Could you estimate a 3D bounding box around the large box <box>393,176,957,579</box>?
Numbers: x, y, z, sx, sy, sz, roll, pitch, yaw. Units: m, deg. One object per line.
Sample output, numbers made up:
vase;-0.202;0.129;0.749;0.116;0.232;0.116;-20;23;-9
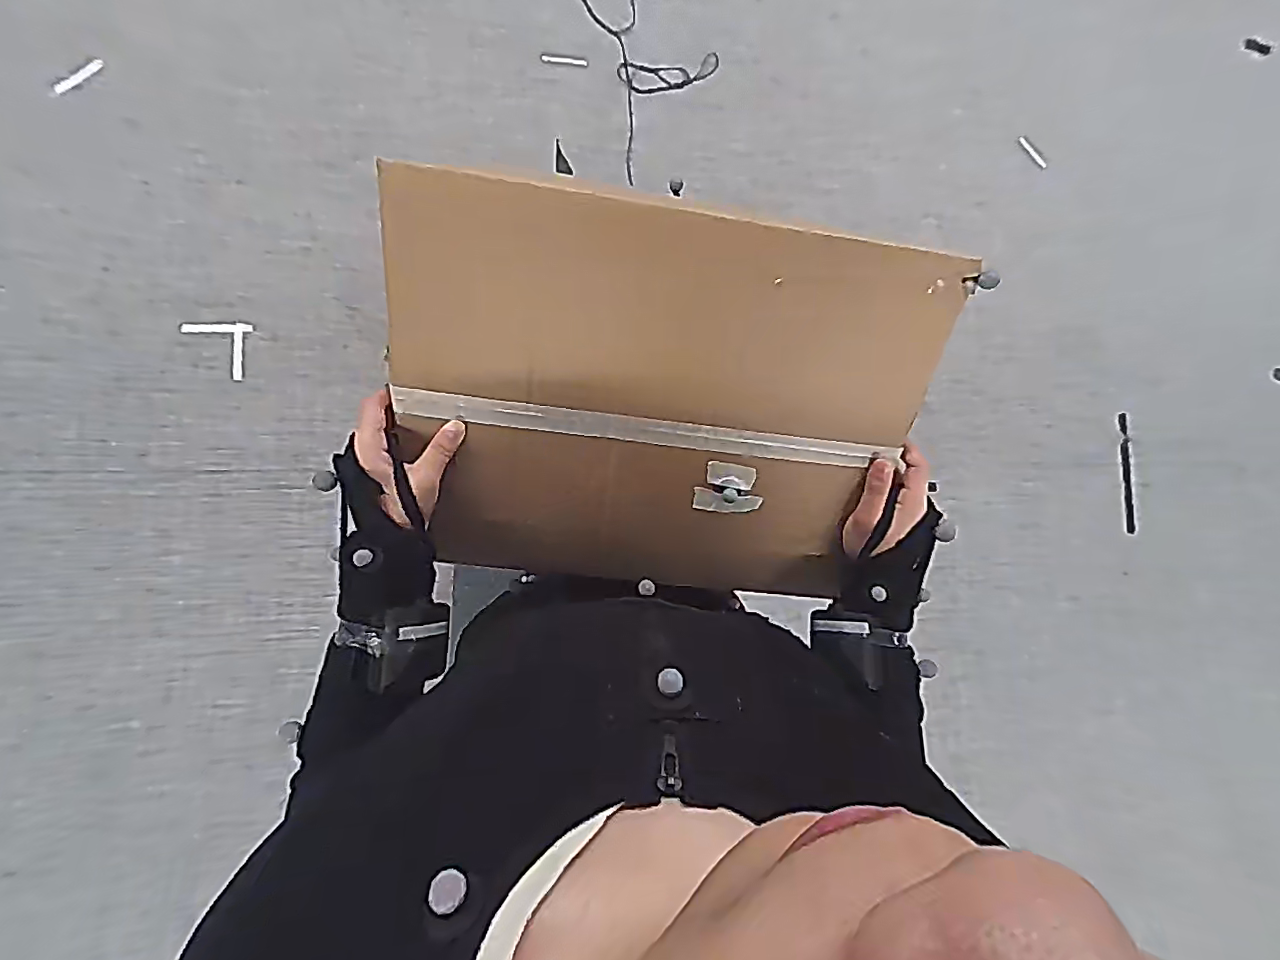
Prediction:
large box;0.006;-0.121;0.571;0.408;0.320;0.320;5;121;-7
